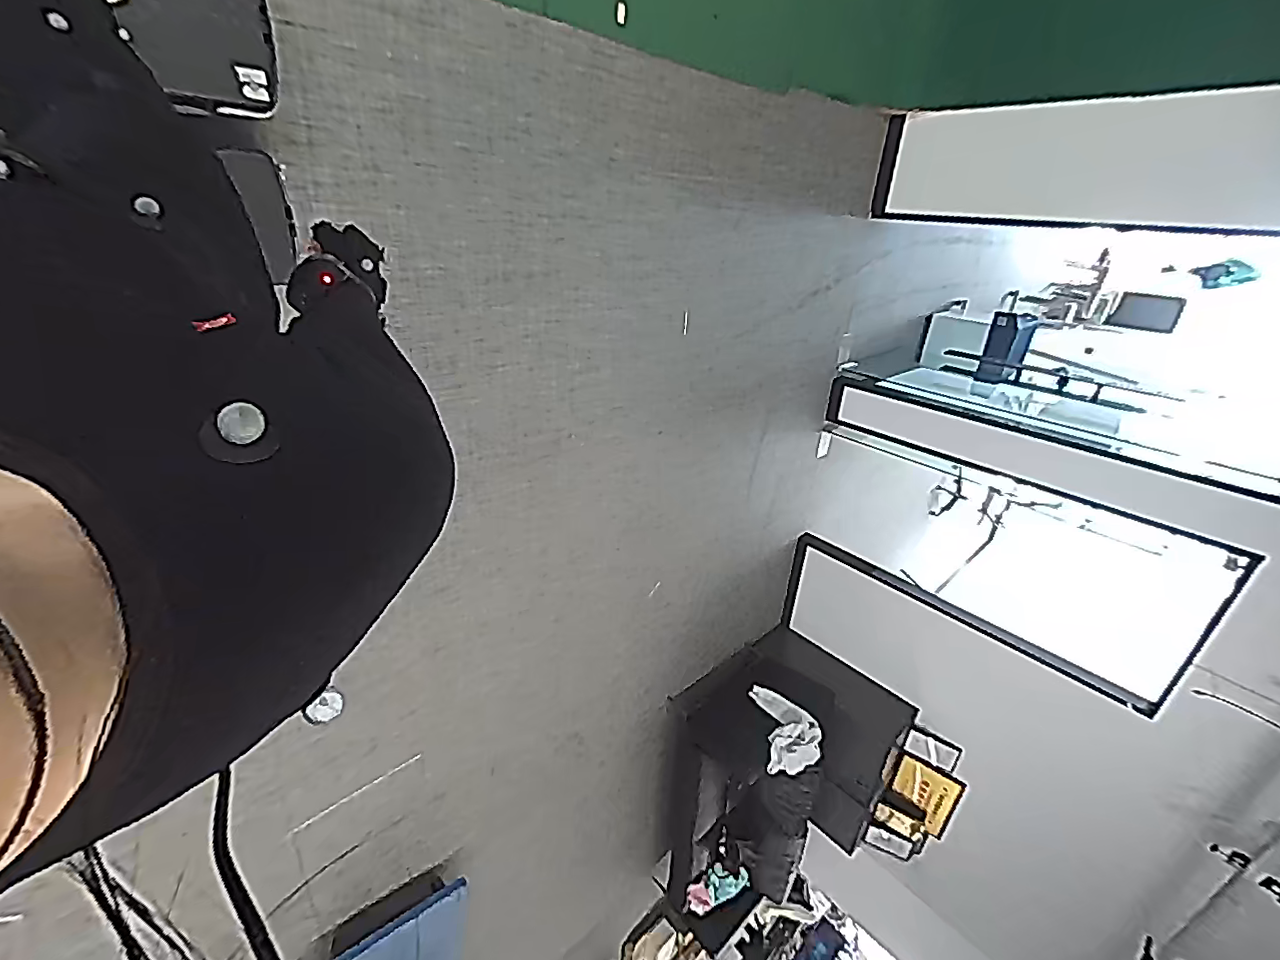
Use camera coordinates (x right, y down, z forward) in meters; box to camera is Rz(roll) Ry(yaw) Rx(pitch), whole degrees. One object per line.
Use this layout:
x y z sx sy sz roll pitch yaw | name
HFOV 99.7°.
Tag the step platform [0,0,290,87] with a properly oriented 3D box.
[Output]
-0.875 -0.737 0.699 0.684 0.204 0.286 -20 125 -38 | step platform
